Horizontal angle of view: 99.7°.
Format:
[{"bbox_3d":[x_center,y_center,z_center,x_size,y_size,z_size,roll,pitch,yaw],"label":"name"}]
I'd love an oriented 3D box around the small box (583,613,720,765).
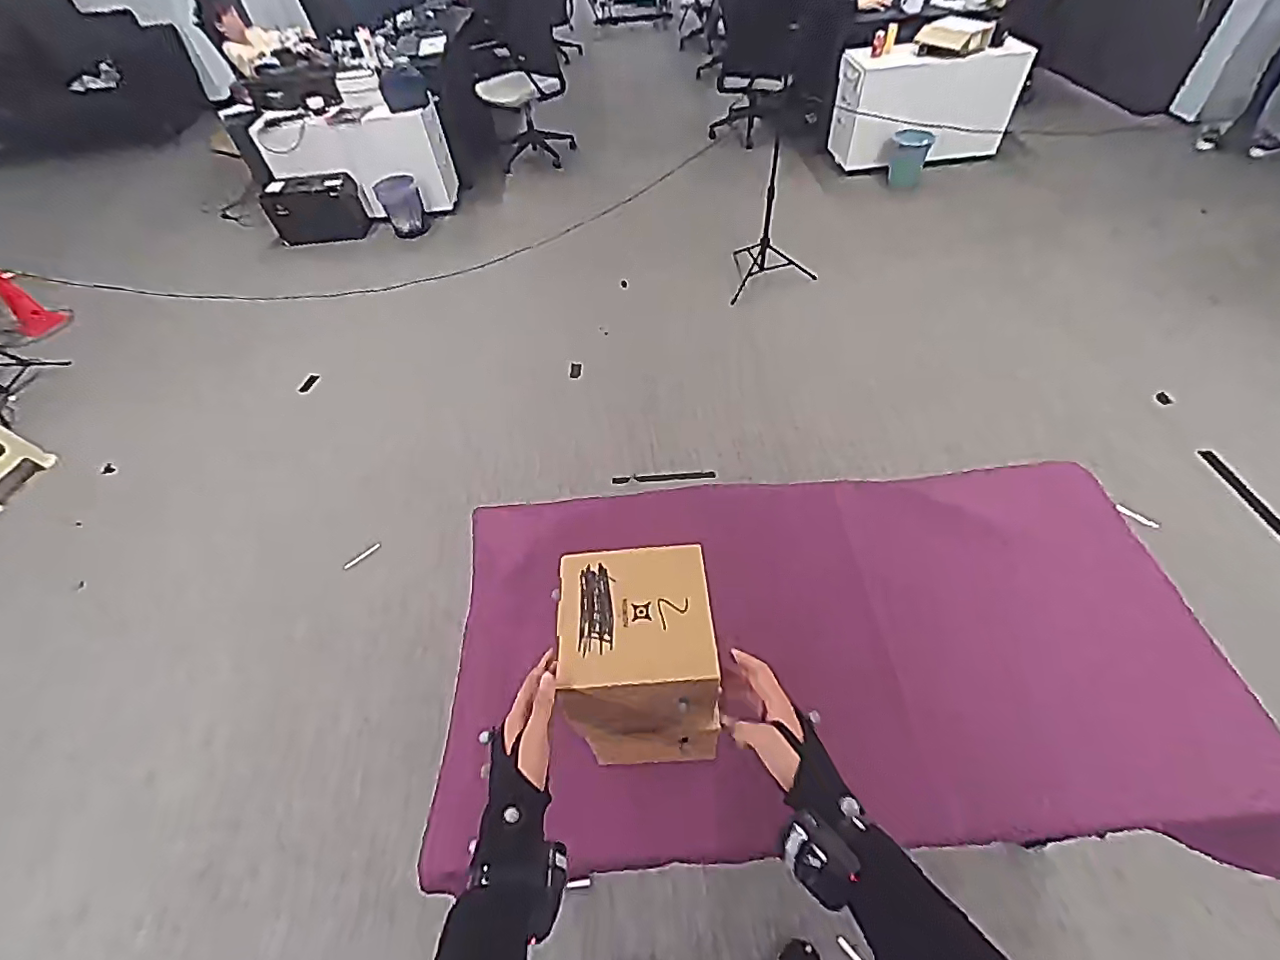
[{"bbox_3d":[0.016,0.309,0.793,0.179,0.176,0.168,-3,50,2],"label":"small box"}]
